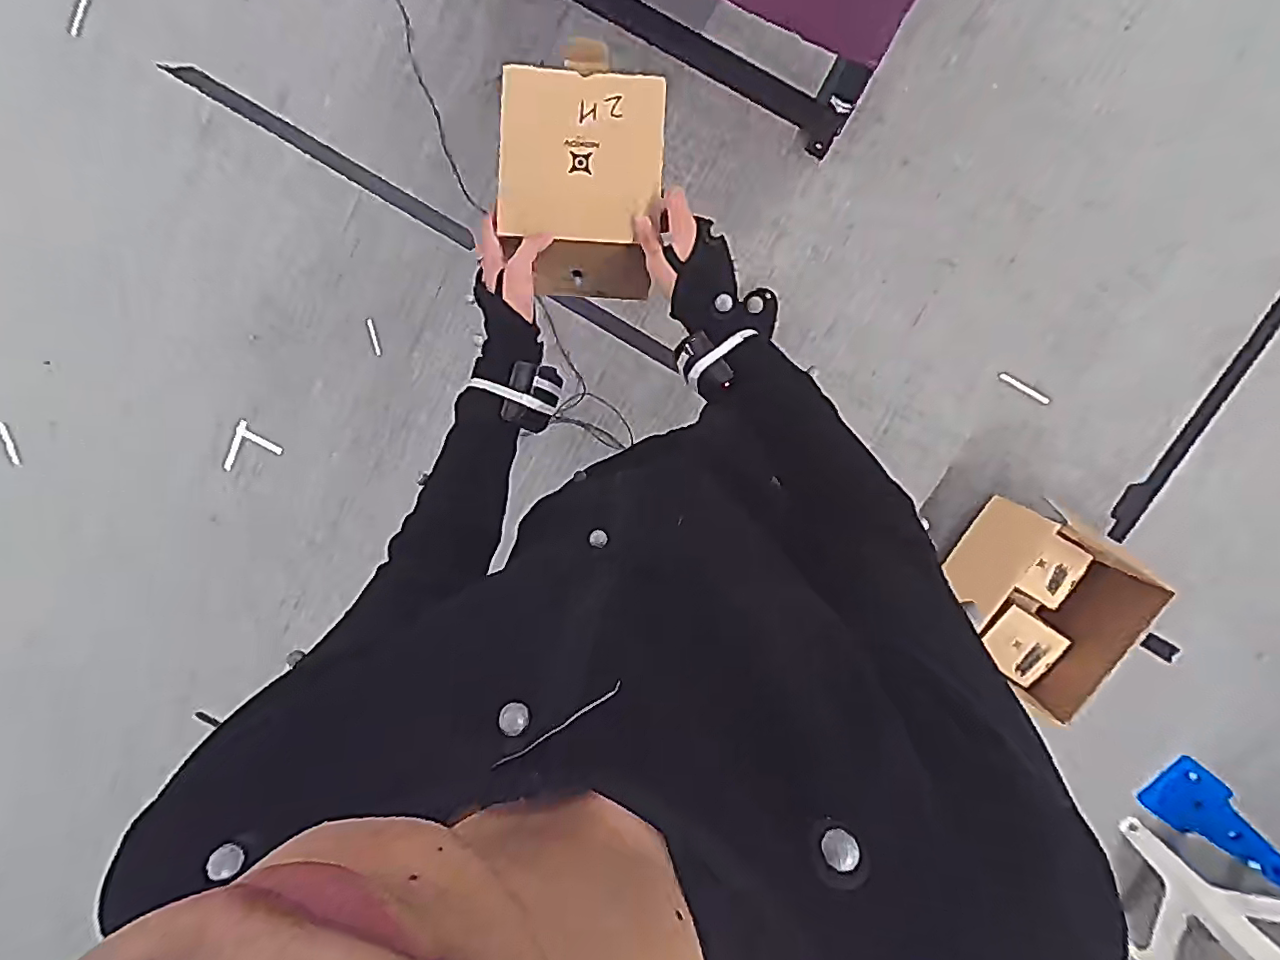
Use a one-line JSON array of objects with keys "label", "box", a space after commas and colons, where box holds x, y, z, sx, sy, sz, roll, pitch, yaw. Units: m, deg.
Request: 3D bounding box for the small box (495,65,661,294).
[{"label": "small box", "box": [-0.066, -0.330, 0.630, 0.168, 0.176, 0.179, 2, 89, -3]}]
